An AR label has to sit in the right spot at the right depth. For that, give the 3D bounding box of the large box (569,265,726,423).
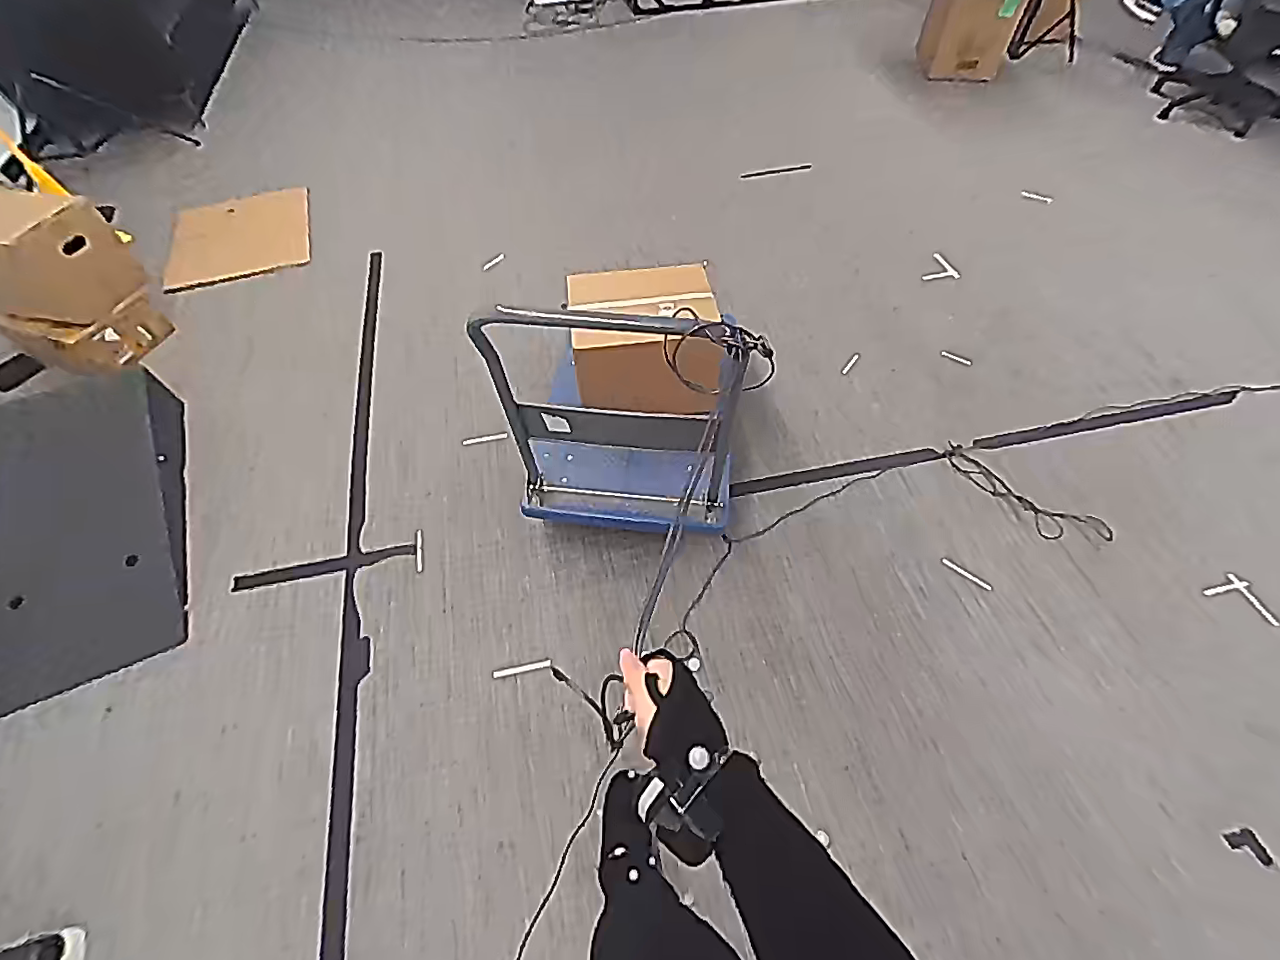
[{"bbox_3d":[0.011,-0.398,1.603,0.408,0.320,0.320,-6,57,-3],"label":"large box"}]
